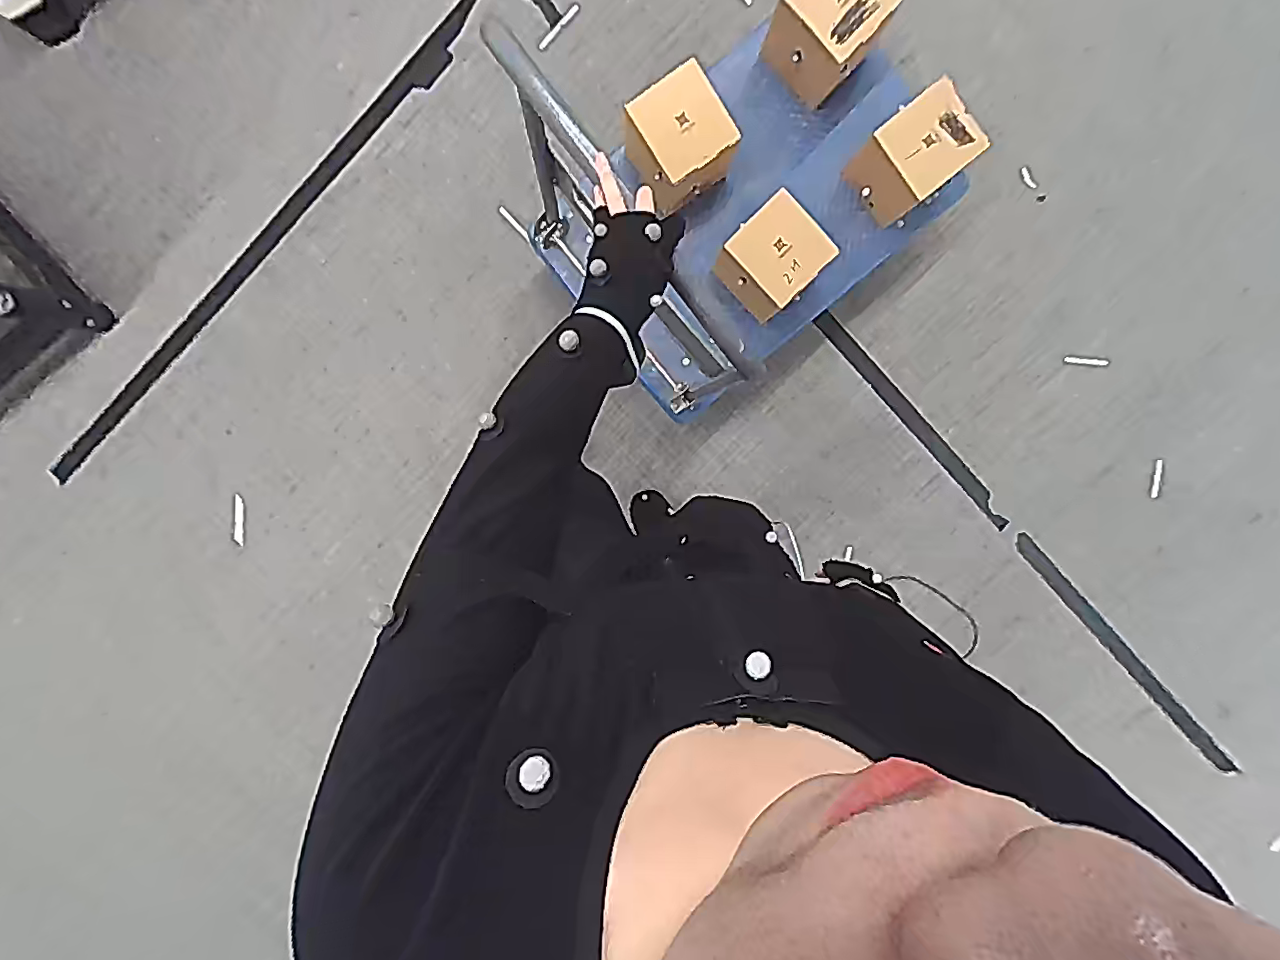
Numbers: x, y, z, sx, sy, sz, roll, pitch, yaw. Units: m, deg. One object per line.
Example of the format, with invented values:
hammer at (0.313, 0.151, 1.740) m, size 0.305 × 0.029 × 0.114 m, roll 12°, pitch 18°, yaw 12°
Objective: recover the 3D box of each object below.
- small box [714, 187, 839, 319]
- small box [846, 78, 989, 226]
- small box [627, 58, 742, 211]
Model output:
small box at (0.281, -0.471, 1.157) m, size 0.168 × 0.176 × 0.179 m, roll -43°, pitch 96°, yaw 3°
small box at (0.574, -0.679, 1.142) m, size 0.179 × 0.176 × 0.168 m, roll -38°, pitch 96°, yaw 4°
small box at (0.083, -0.705, 1.126) m, size 0.168 × 0.176 × 0.179 m, roll -34°, pitch 98°, yaw 2°
